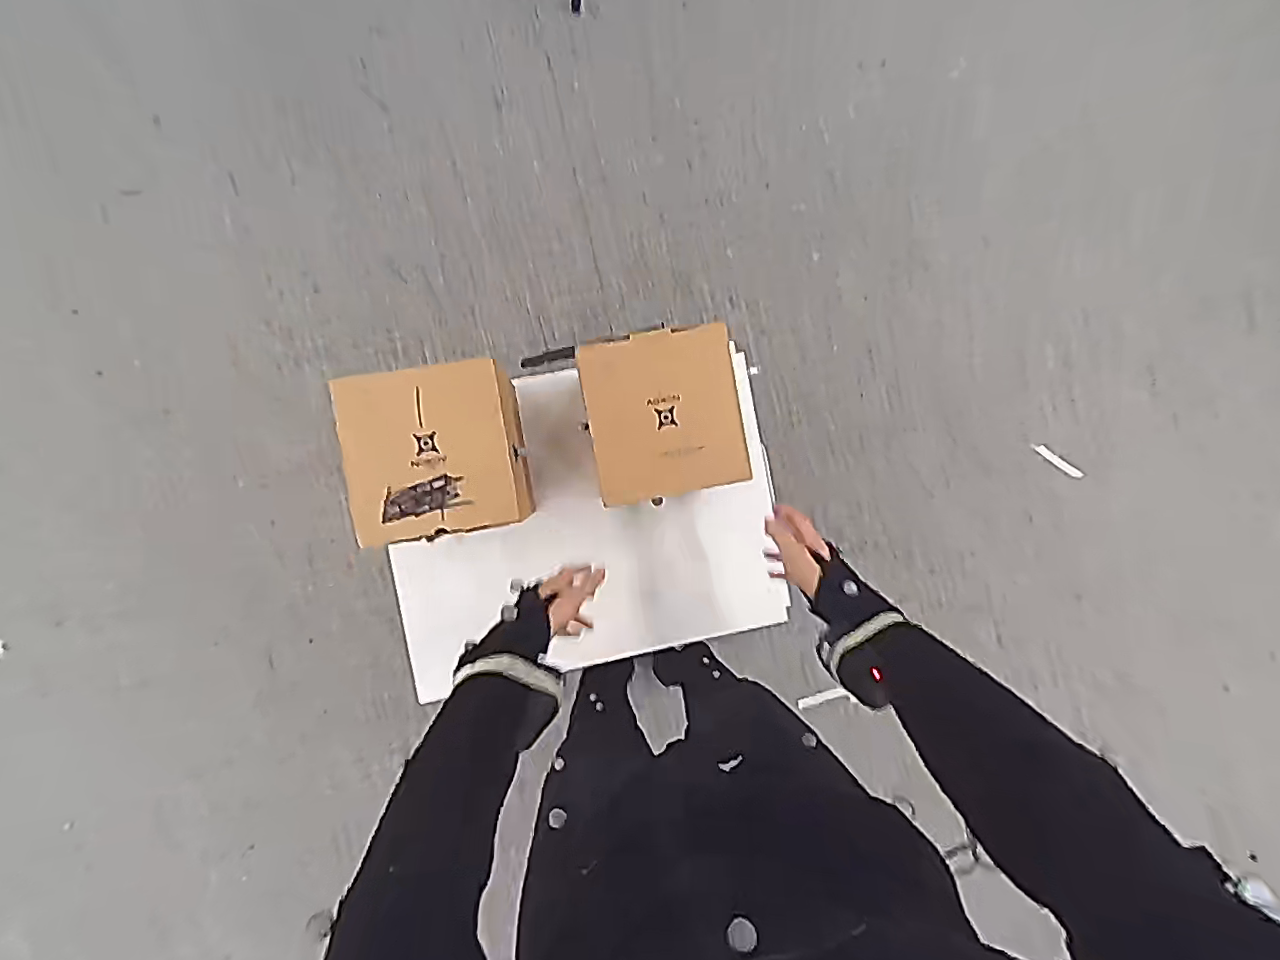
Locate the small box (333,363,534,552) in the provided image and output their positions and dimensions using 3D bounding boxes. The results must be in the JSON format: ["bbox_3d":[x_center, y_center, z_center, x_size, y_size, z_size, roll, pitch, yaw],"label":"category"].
[{"bbox_3d":[-0.223,-0.024,0.631,0.168,0.176,0.179,-10,90,-6],"label":"small box"}]

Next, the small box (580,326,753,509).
[{"bbox_3d":[0.022,-0.068,0.657,0.168,0.176,0.179,-11,92,-4],"label":"small box"}]
